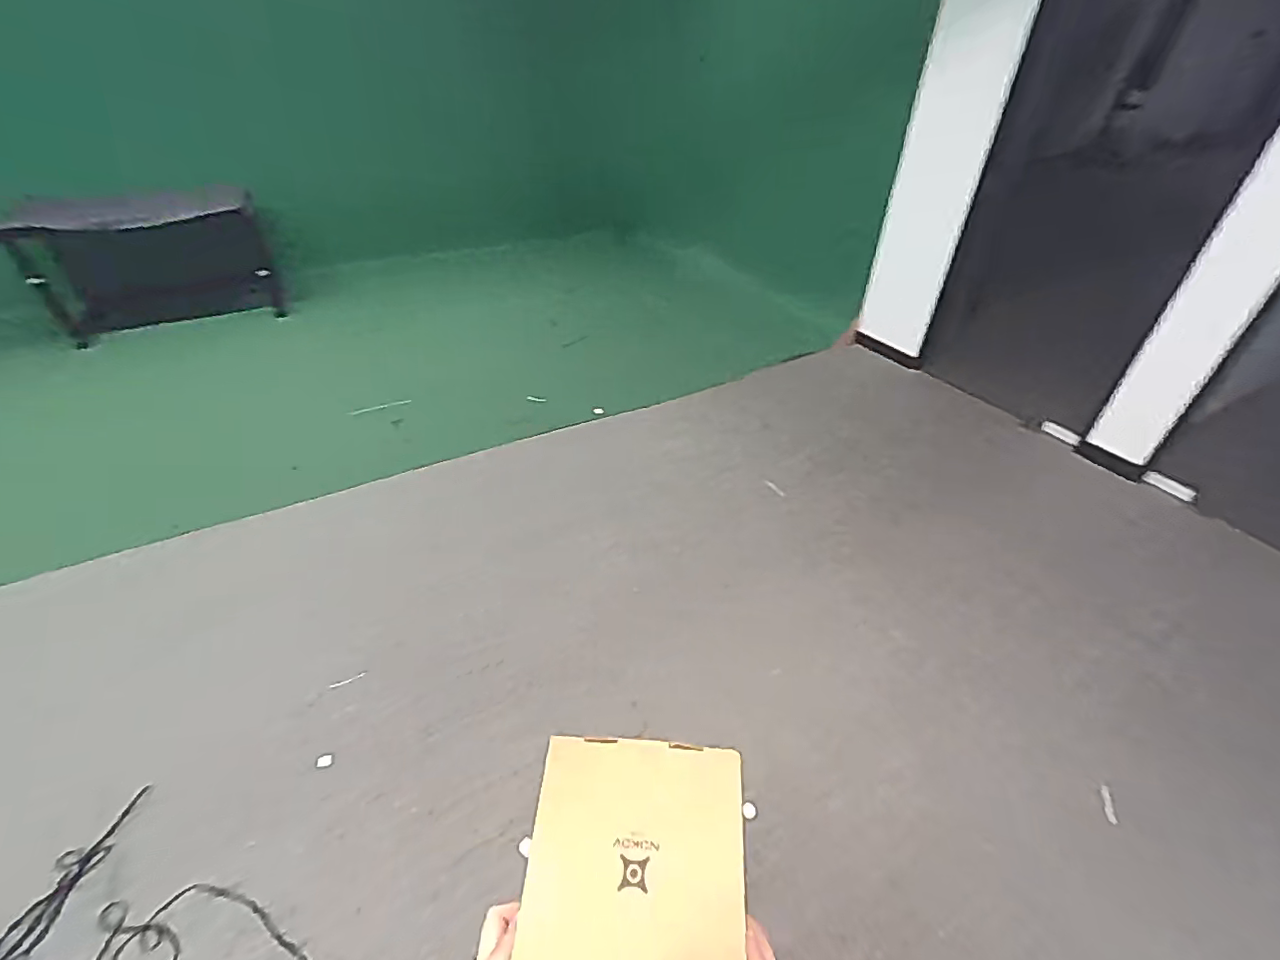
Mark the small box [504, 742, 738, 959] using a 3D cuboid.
[{"bbox_3d":[-0.006,0.346,0.465,0.168,0.176,0.179,1,49,4],"label":"small box"}]
